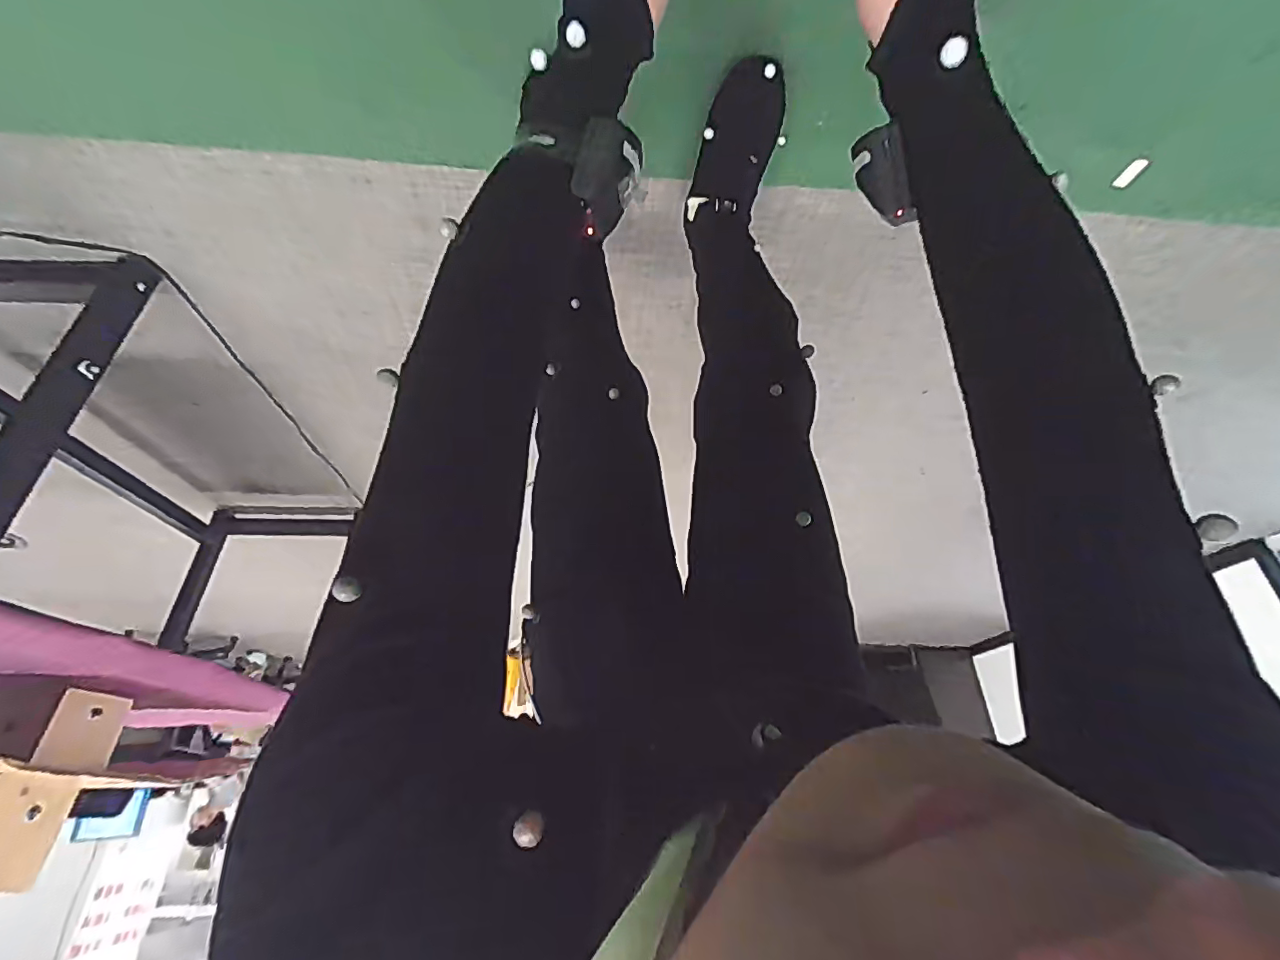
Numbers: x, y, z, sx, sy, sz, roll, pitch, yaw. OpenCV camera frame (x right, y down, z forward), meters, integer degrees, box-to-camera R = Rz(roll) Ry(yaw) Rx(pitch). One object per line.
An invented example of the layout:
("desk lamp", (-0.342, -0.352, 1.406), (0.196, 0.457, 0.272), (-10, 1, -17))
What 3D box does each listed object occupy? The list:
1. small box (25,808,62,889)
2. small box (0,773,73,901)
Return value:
("small box", (-1.285, 0.689, 1.035), (0.179, 0.176, 0.168), (0, 147, -1))
("small box", (-1.096, 0.573, 0.864), (0.179, 0.176, 0.168), (-1, 147, -2))
